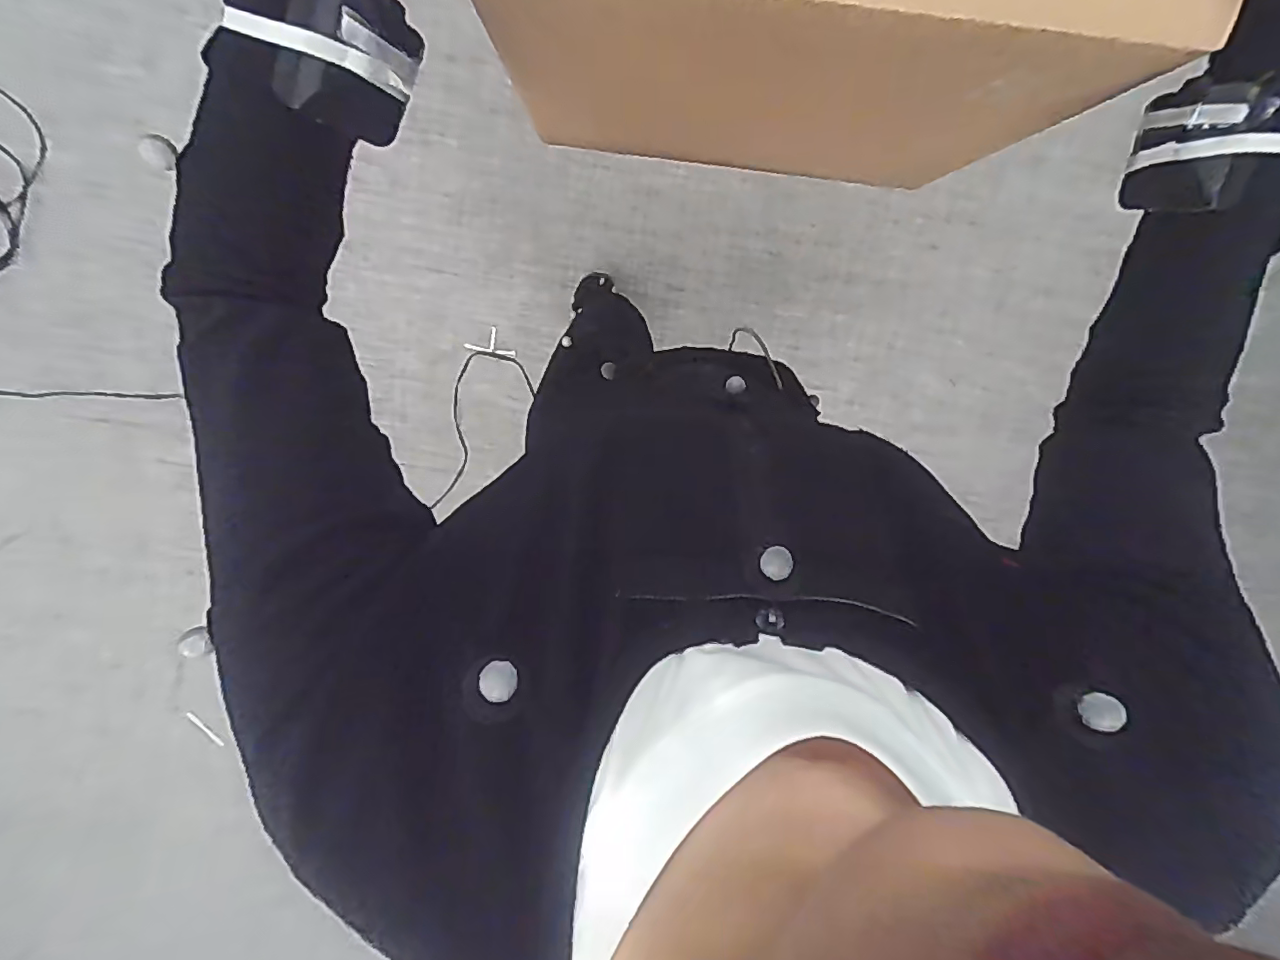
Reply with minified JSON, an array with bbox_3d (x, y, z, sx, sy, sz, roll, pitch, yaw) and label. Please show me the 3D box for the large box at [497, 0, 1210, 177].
[{"bbox_3d":[0.116,-0.442,0.389,0.408,0.320,0.320,4,107,-4],"label":"large box"}]
